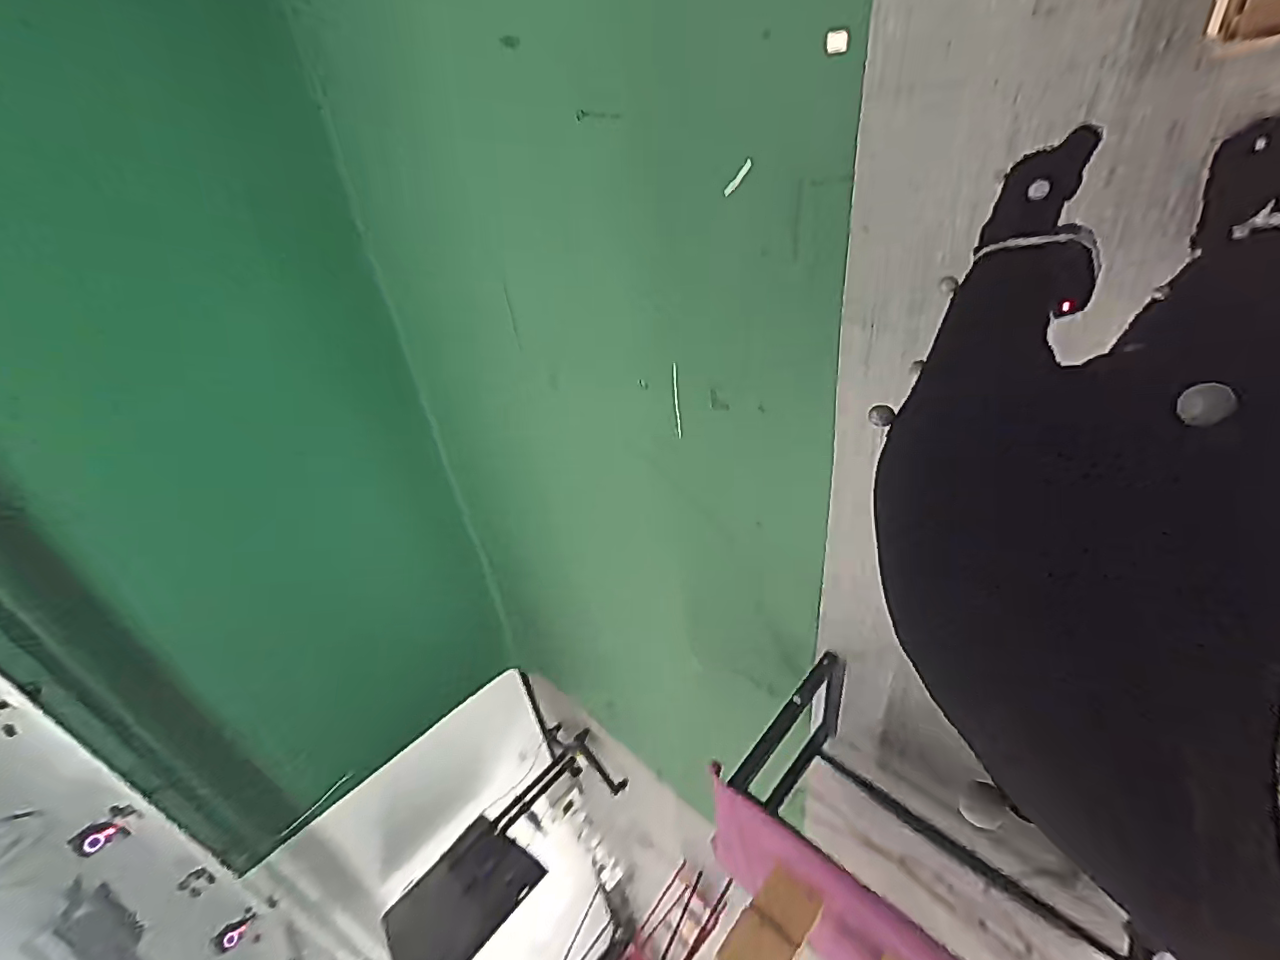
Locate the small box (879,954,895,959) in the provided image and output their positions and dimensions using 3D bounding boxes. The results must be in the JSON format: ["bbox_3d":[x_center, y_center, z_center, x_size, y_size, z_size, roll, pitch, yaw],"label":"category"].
[{"bbox_3d":[0.680,1.423,1.437,0.168,0.176,0.179,27,135,36],"label":"small box"}]

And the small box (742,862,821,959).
[{"bbox_3d":[0.433,1.321,1.651,0.168,0.176,0.179,29,137,36],"label":"small box"}]
